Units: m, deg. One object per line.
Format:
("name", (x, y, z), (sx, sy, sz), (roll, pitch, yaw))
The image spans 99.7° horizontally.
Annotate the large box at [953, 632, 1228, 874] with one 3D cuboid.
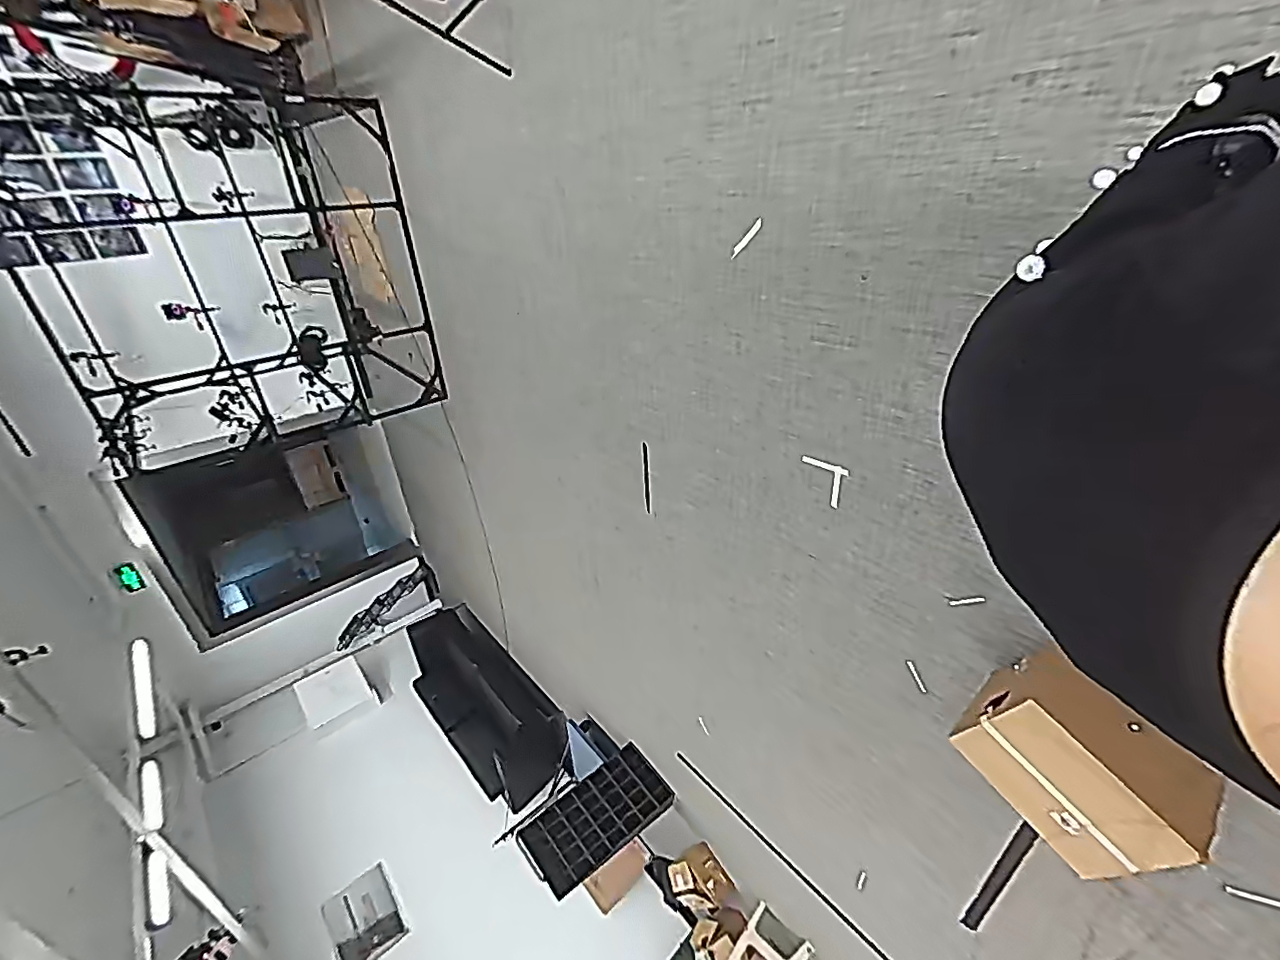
("large box", (1.119, 0.676, 1.373), (0.408, 0.320, 0.320), (47, 142, 24))
